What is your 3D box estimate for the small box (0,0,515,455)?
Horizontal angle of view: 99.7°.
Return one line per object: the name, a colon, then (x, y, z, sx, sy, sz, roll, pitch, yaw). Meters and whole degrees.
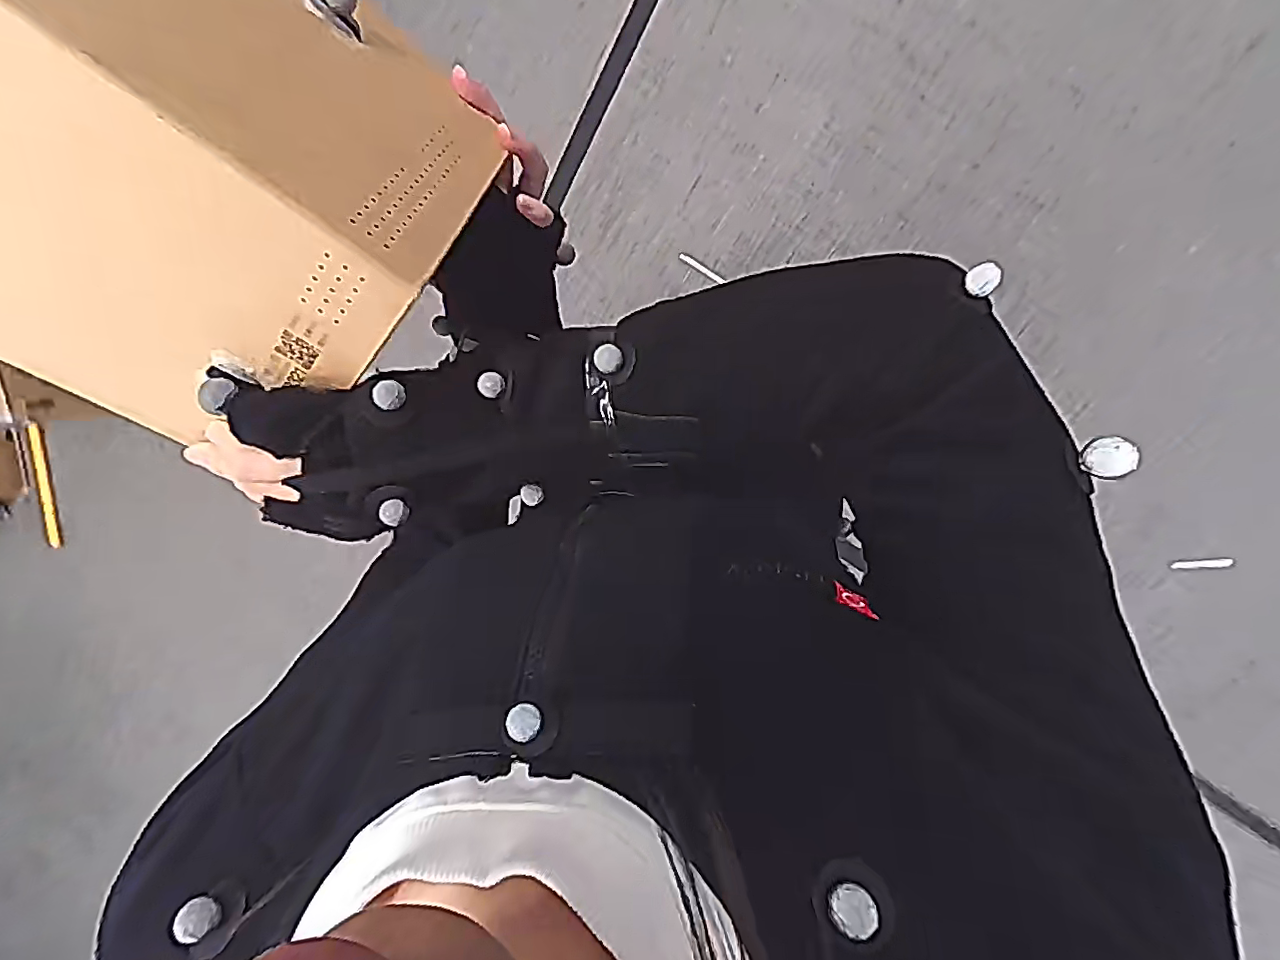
small box: (-0.188, -0.146, 0.282, 0.176, 0.179, 0.168, 35, 131, -28)
